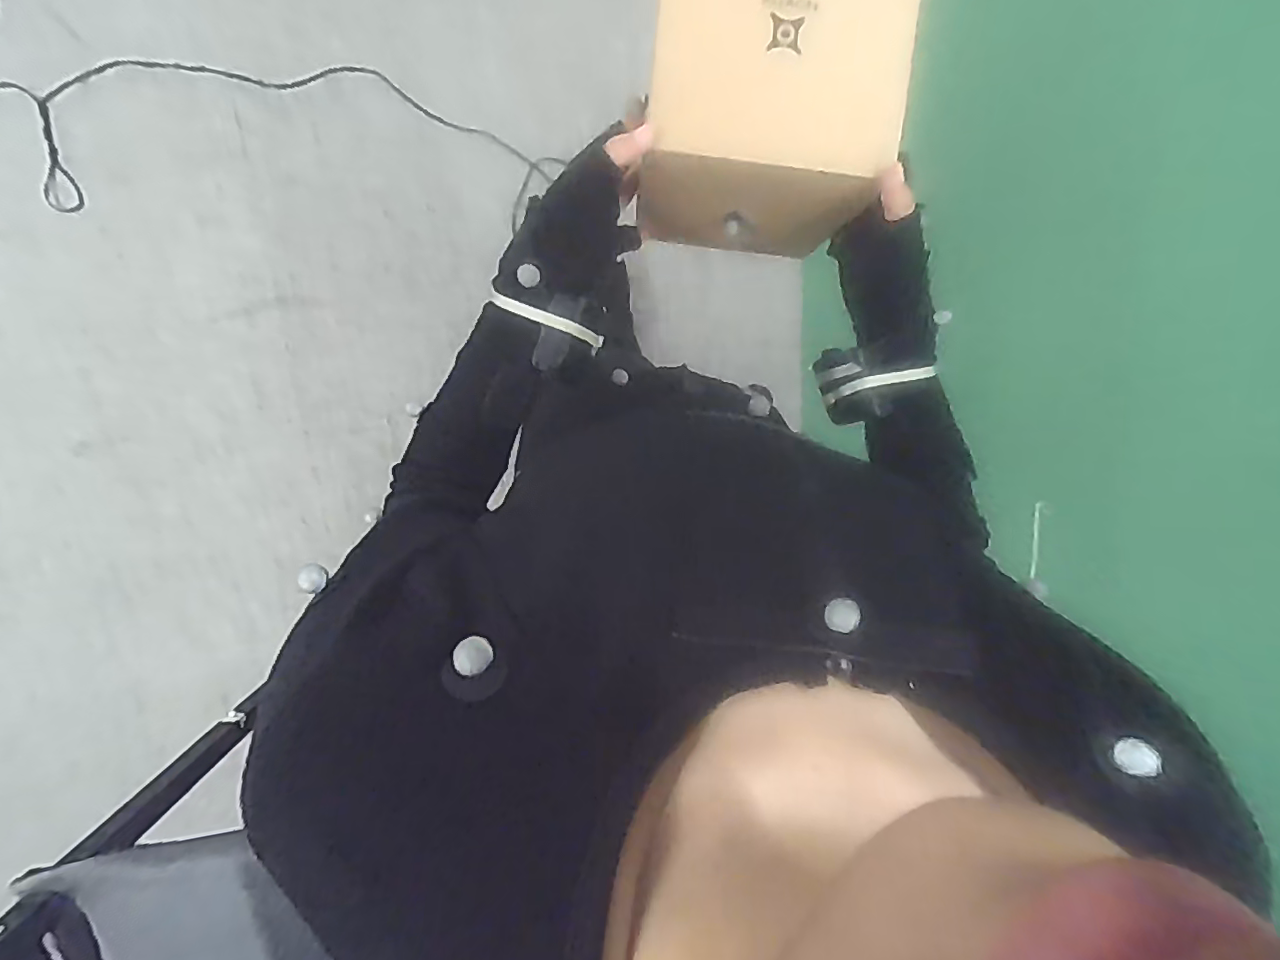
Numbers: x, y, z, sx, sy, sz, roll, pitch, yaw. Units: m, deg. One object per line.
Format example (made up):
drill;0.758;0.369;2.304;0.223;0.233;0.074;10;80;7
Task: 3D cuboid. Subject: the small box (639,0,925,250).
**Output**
small box;0.090;-0.295;0.414;0.168;0.176;0.179;6;95;-4
